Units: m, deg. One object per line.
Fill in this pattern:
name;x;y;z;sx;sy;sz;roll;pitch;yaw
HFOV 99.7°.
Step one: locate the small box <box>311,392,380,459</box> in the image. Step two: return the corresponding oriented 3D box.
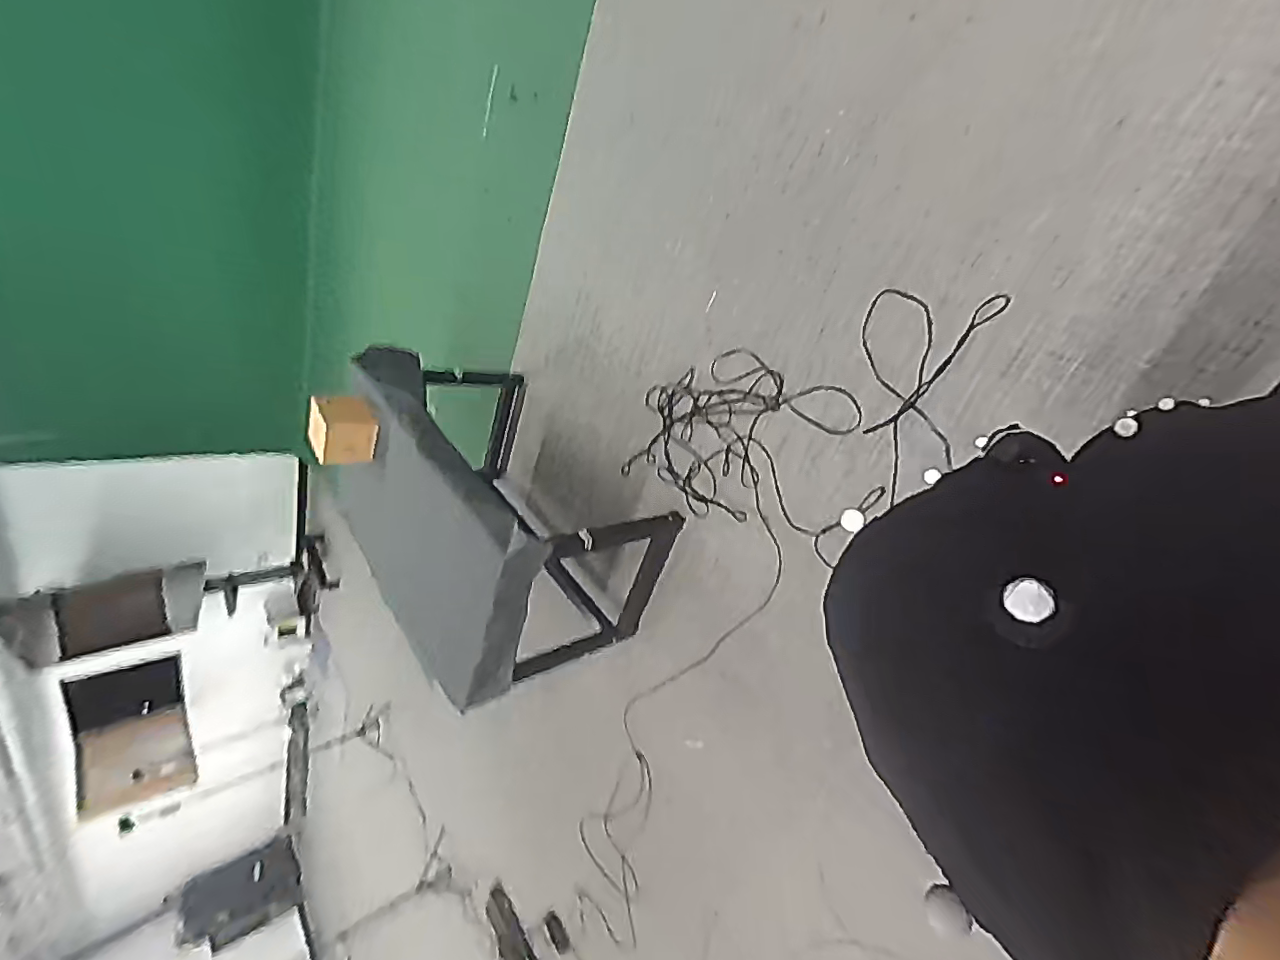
small box;-1.029;-0.196;1.889;0.179;0.176;0.168;48;127;30
